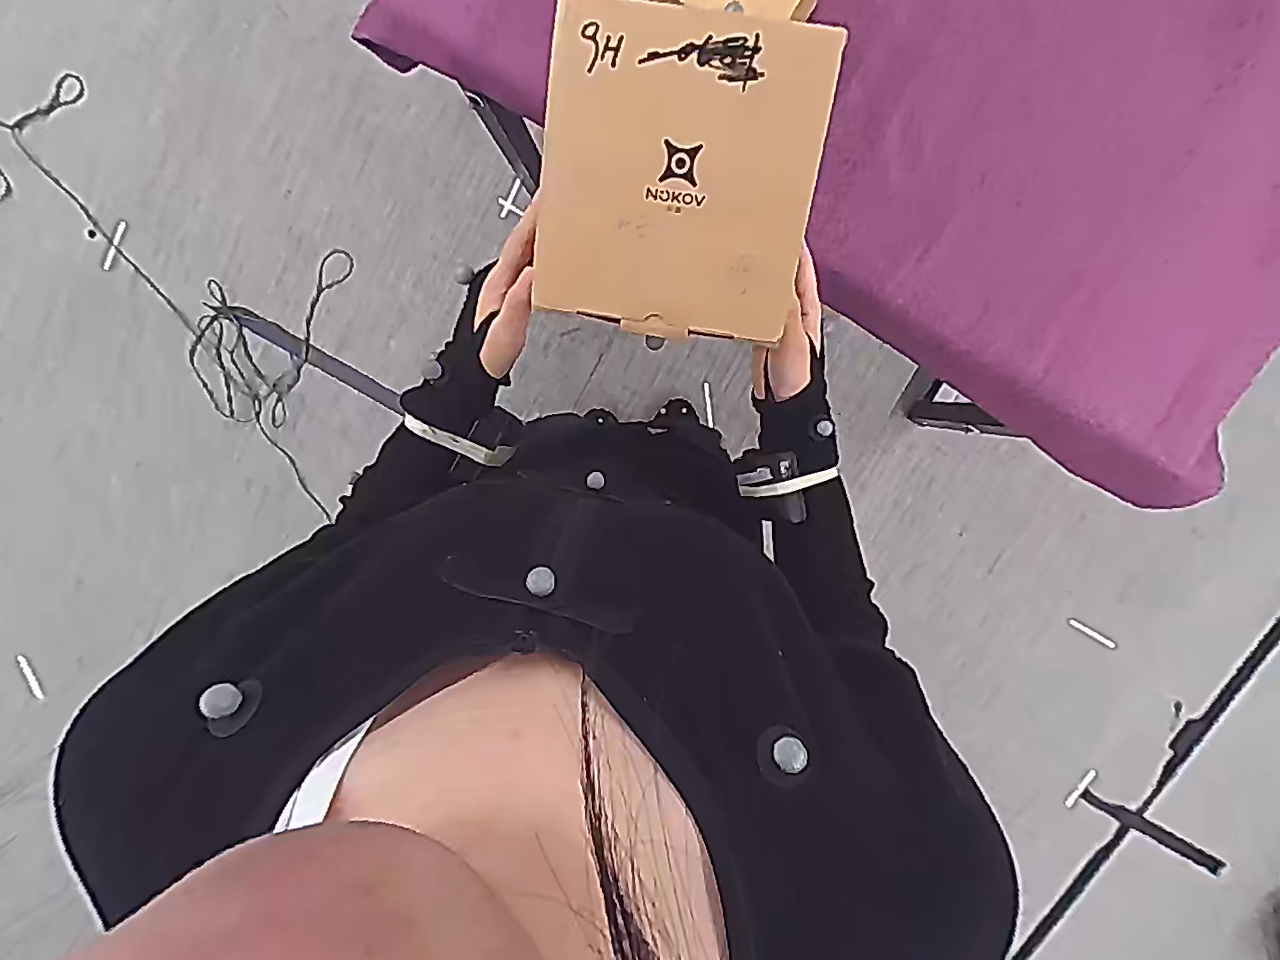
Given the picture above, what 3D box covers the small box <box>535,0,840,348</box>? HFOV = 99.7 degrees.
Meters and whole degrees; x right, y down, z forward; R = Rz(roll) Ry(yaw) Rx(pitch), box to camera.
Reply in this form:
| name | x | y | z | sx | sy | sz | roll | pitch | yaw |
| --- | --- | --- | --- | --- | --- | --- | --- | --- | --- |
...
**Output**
| name | x | y | z | sx | sy | sz | roll | pitch | yaw |
| --- | --- | --- | --- | --- | --- | --- | --- | --- | --- |
| small box | 0.027 | -0.204 | 0.410 | 0.168 | 0.176 | 0.179 | 9 | 106 | 0 |
